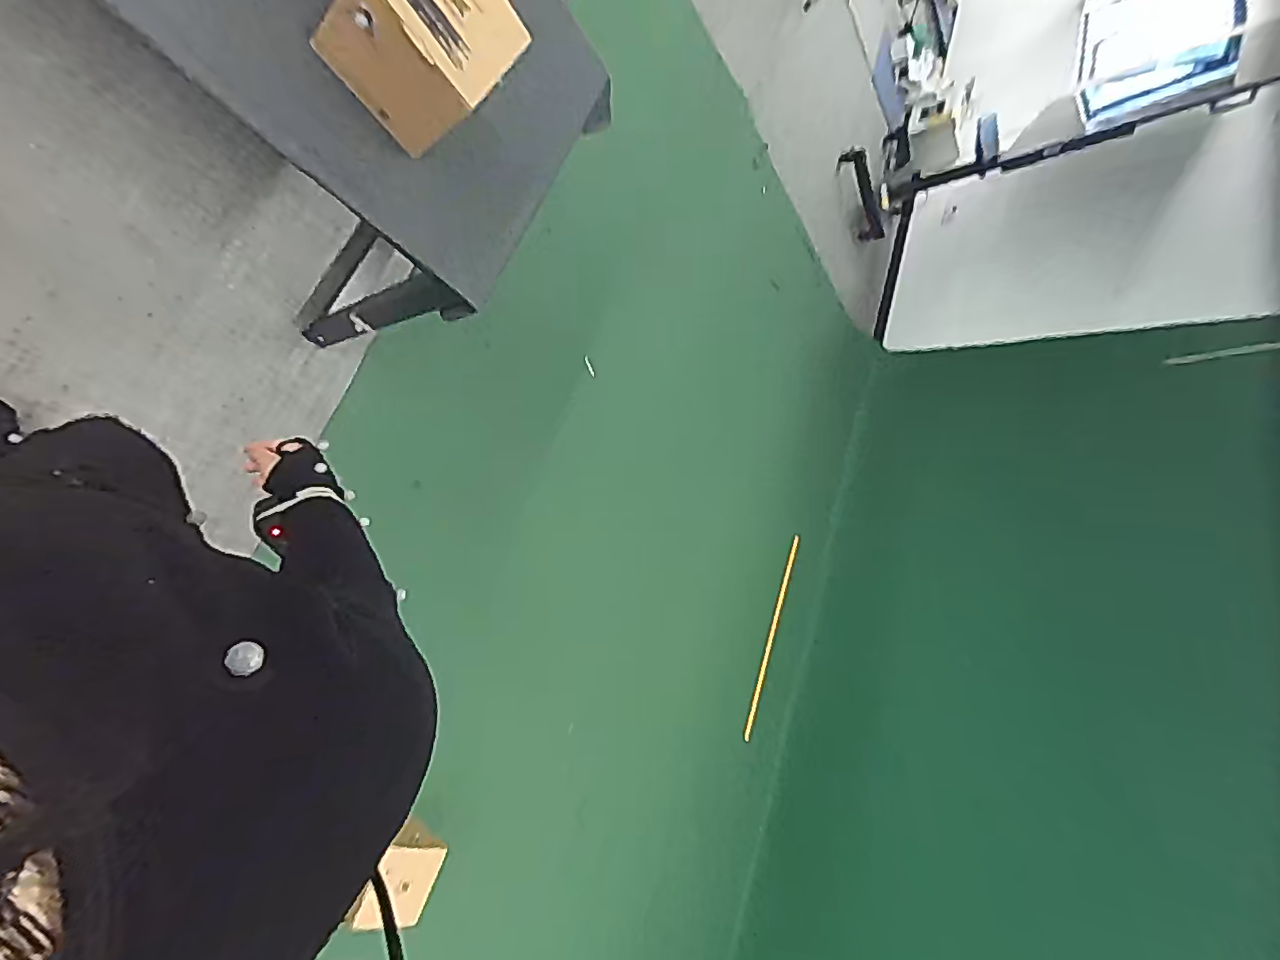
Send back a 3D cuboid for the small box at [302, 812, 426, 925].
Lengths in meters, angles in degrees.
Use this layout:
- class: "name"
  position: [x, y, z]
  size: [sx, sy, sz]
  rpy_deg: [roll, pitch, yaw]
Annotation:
- class: "small box"
  position: [-0.665, 0.929, 1.306]
  size: [0.179, 0.176, 0.168]
  rpy_deg: [42, 62, -43]
